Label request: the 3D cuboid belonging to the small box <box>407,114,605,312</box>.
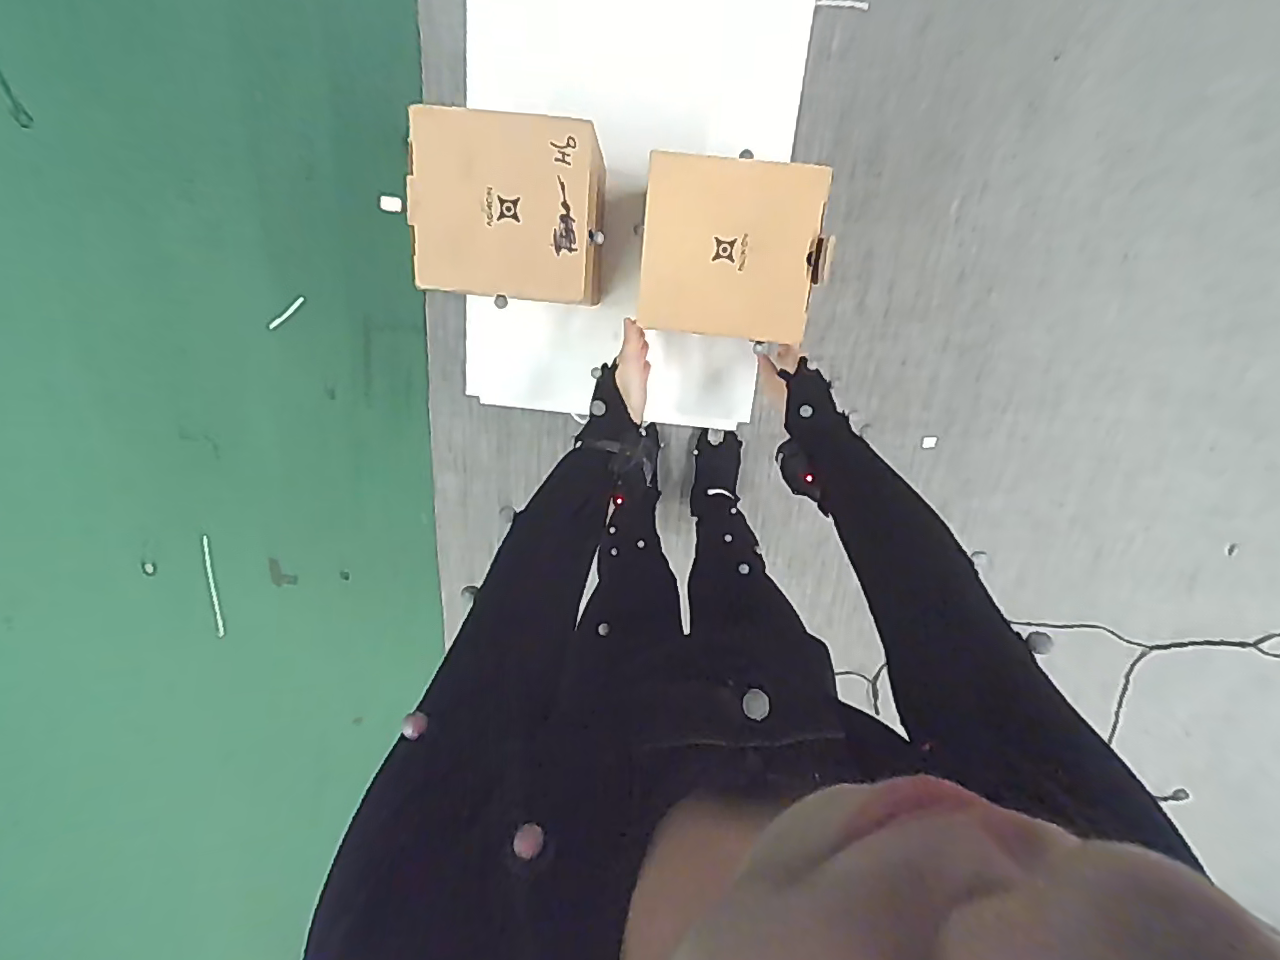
[{"bbox_3d":[-0.139,-0.283,0.608,0.179,0.176,0.168,5,107,0],"label":"small box"}]
